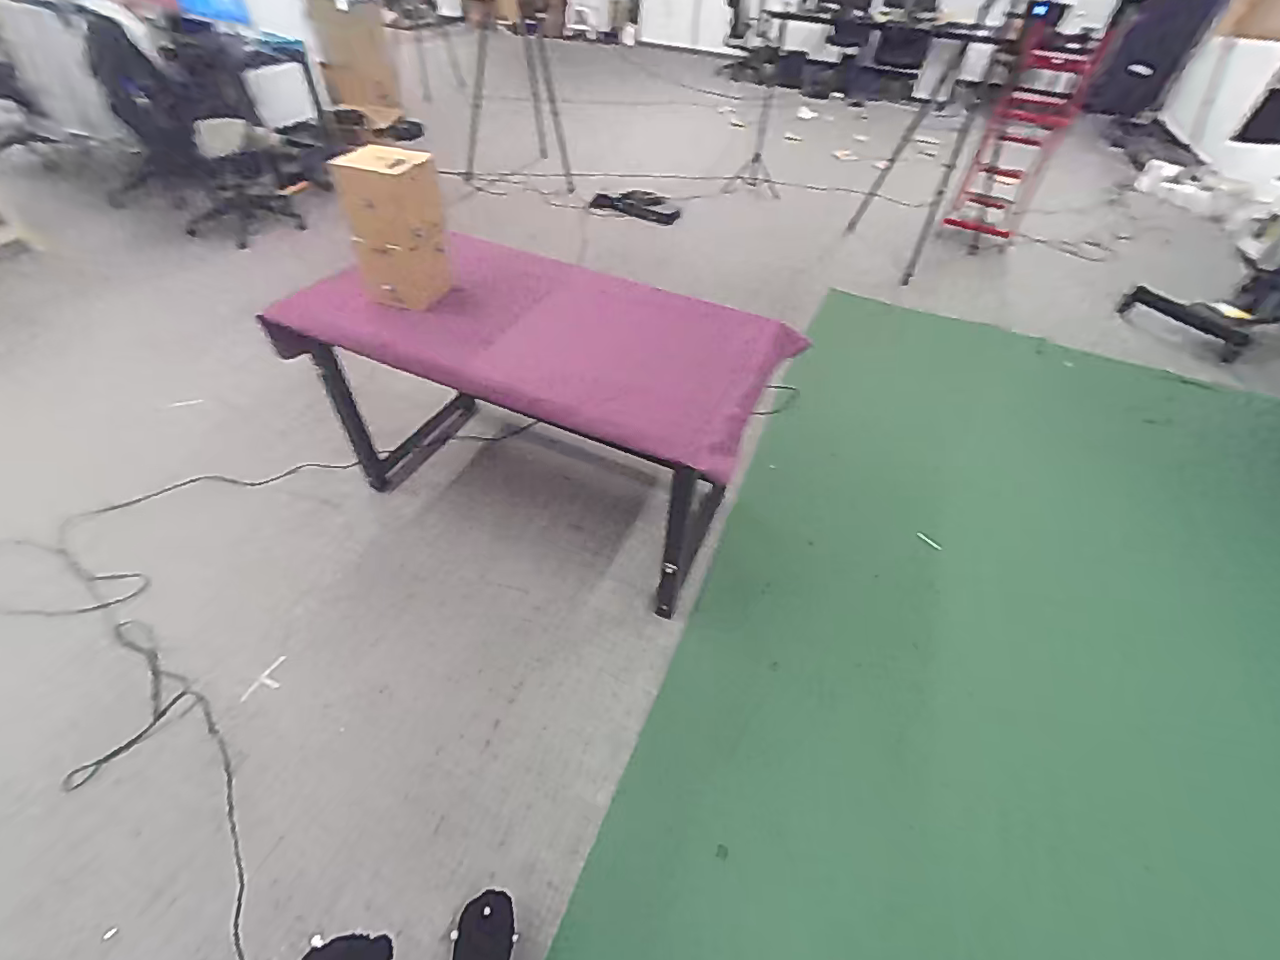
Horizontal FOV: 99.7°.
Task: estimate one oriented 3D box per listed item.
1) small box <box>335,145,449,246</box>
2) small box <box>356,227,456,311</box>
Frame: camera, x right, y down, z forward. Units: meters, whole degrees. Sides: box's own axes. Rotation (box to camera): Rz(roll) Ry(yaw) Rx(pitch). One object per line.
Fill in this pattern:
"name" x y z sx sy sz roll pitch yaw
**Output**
"small box" -0.596 -0.696 1.327 0.179 0.176 0.168 17 46 12
"small box" -0.612 -0.580 1.447 0.168 0.176 0.179 15 47 11
